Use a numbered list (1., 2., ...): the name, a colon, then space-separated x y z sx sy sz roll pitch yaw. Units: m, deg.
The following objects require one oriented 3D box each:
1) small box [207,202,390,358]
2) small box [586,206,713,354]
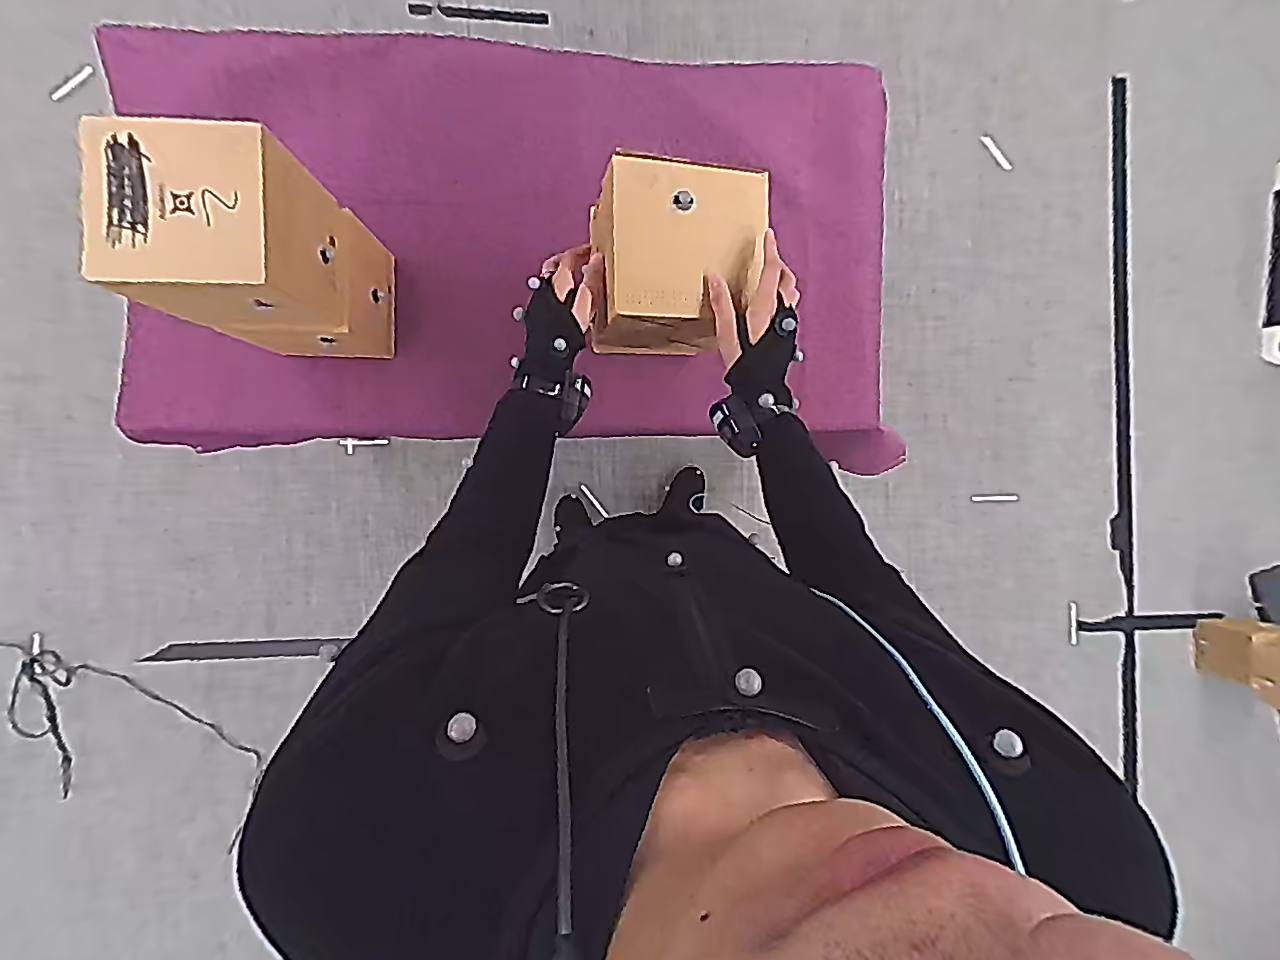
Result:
1. small box: -0.478 -0.276 0.783 0.179 0.176 0.168 1 91 -5
2. small box: 0.009 -0.292 0.822 0.179 0.176 0.168 0 91 -5
